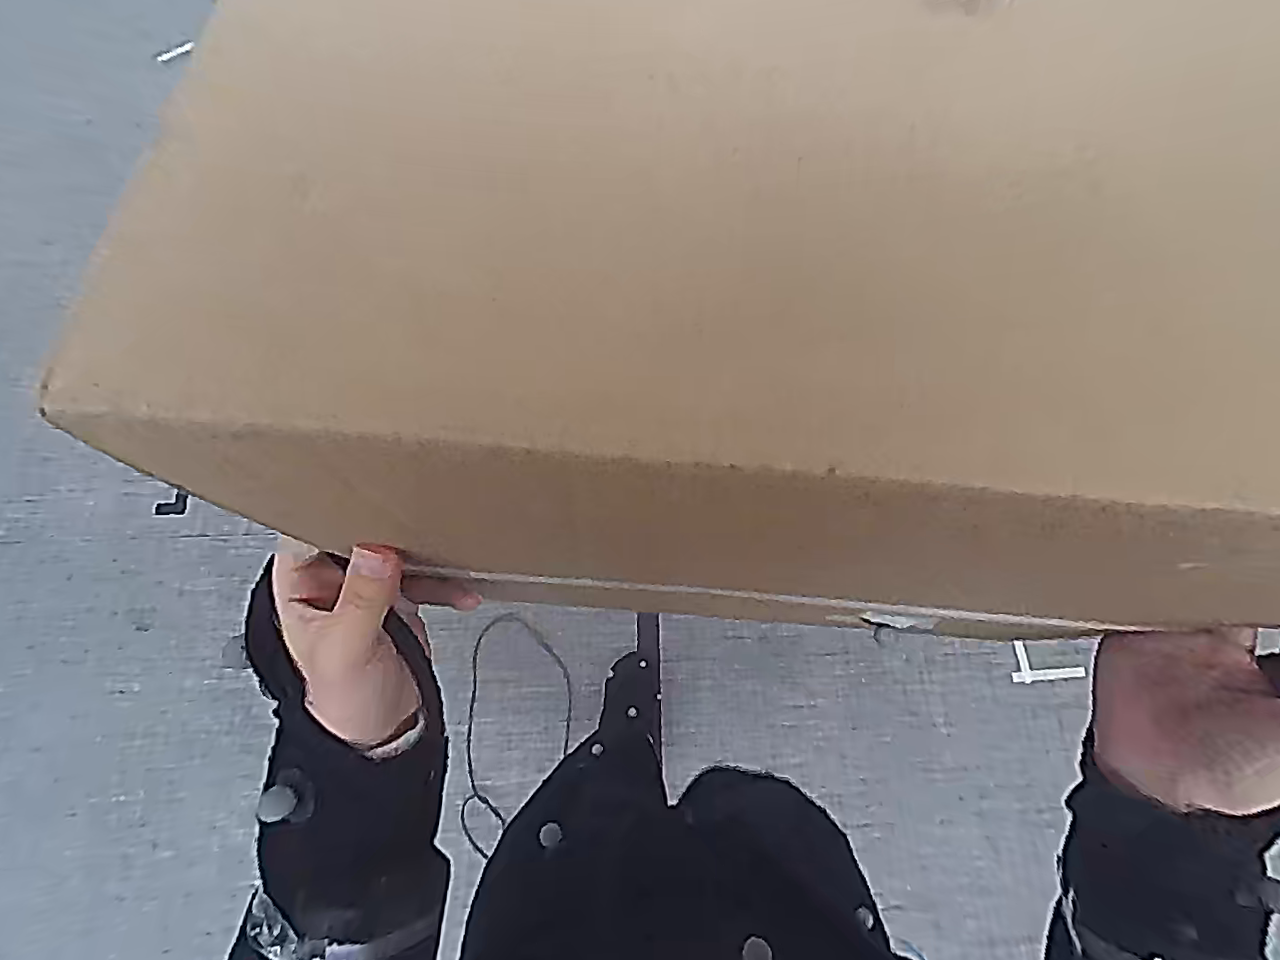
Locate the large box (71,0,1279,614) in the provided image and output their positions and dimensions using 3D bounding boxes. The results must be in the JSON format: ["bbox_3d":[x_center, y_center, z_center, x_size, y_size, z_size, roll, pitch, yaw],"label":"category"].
[{"bbox_3d":[0.078,-0.107,0.302,0.408,0.320,0.320,4,72,-3],"label":"large box"}]
